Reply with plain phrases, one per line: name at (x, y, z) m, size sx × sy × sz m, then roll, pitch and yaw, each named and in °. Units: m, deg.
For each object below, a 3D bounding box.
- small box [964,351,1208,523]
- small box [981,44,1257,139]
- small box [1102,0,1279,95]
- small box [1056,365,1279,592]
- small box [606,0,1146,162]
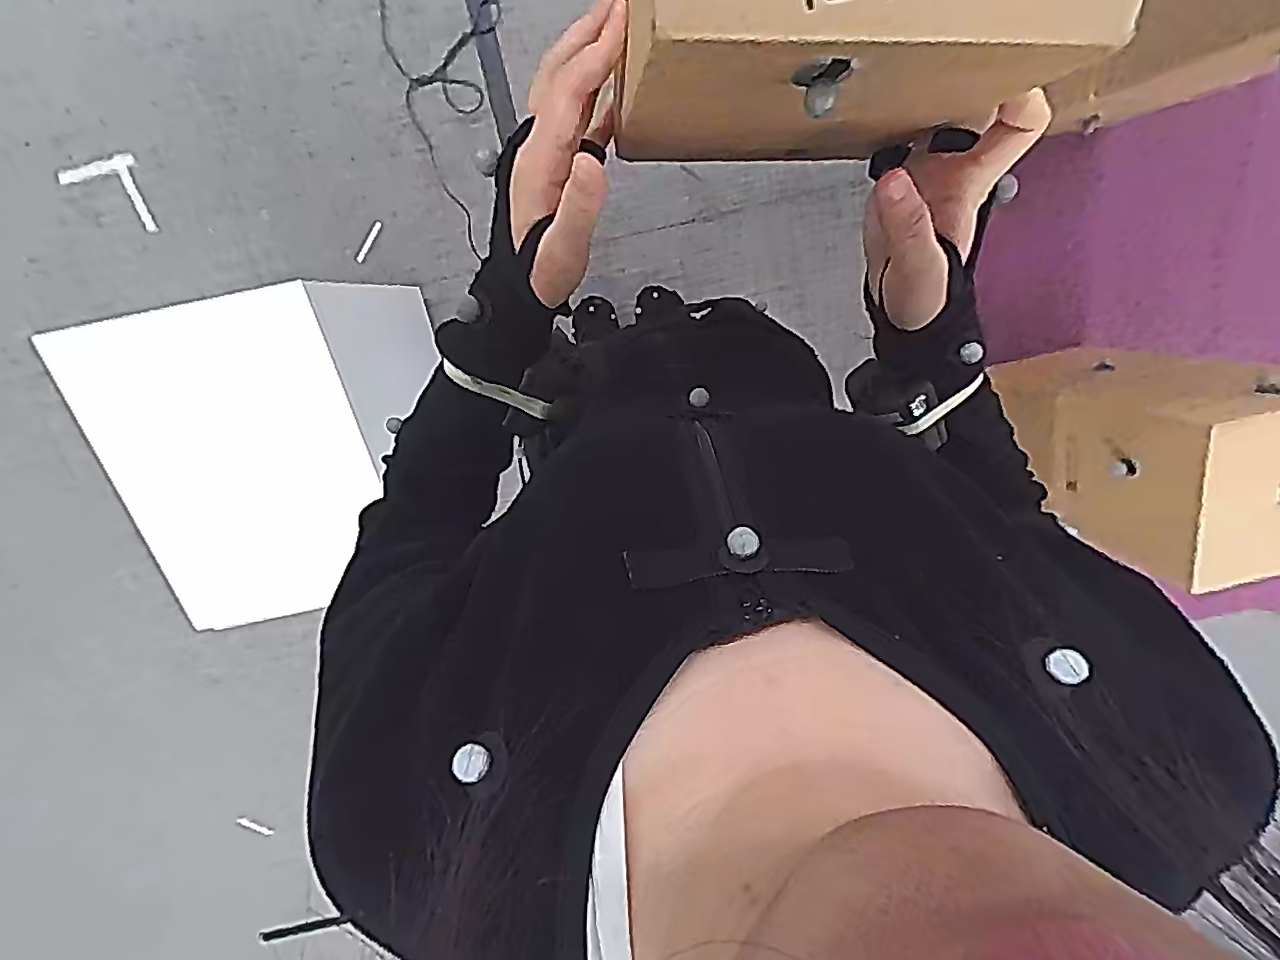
small box at (0.558, -0.066, 0.702) m, size 0.179 × 0.176 × 0.168 m, roll -12°, pitch 108°, yaw 1°
small box at (0.485, -0.471, 0.554) m, size 0.168 × 0.176 × 0.179 m, roll -9°, pitch 109°, yaw -2°
small box at (0.506, -0.416, 0.401) m, size 0.179 × 0.176 × 0.168 m, roll -9°, pitch 110°, yaw 0°
small box at (0.567, -0.013, 0.548) m, size 0.179 × 0.176 × 0.168 m, roll -13°, pitch 108°, yaw -1°
small box at (0.071, -0.249, 0.218) m, size 0.168 × 0.176 × 0.179 m, roll -4°, pitch 109°, yaw -5°
